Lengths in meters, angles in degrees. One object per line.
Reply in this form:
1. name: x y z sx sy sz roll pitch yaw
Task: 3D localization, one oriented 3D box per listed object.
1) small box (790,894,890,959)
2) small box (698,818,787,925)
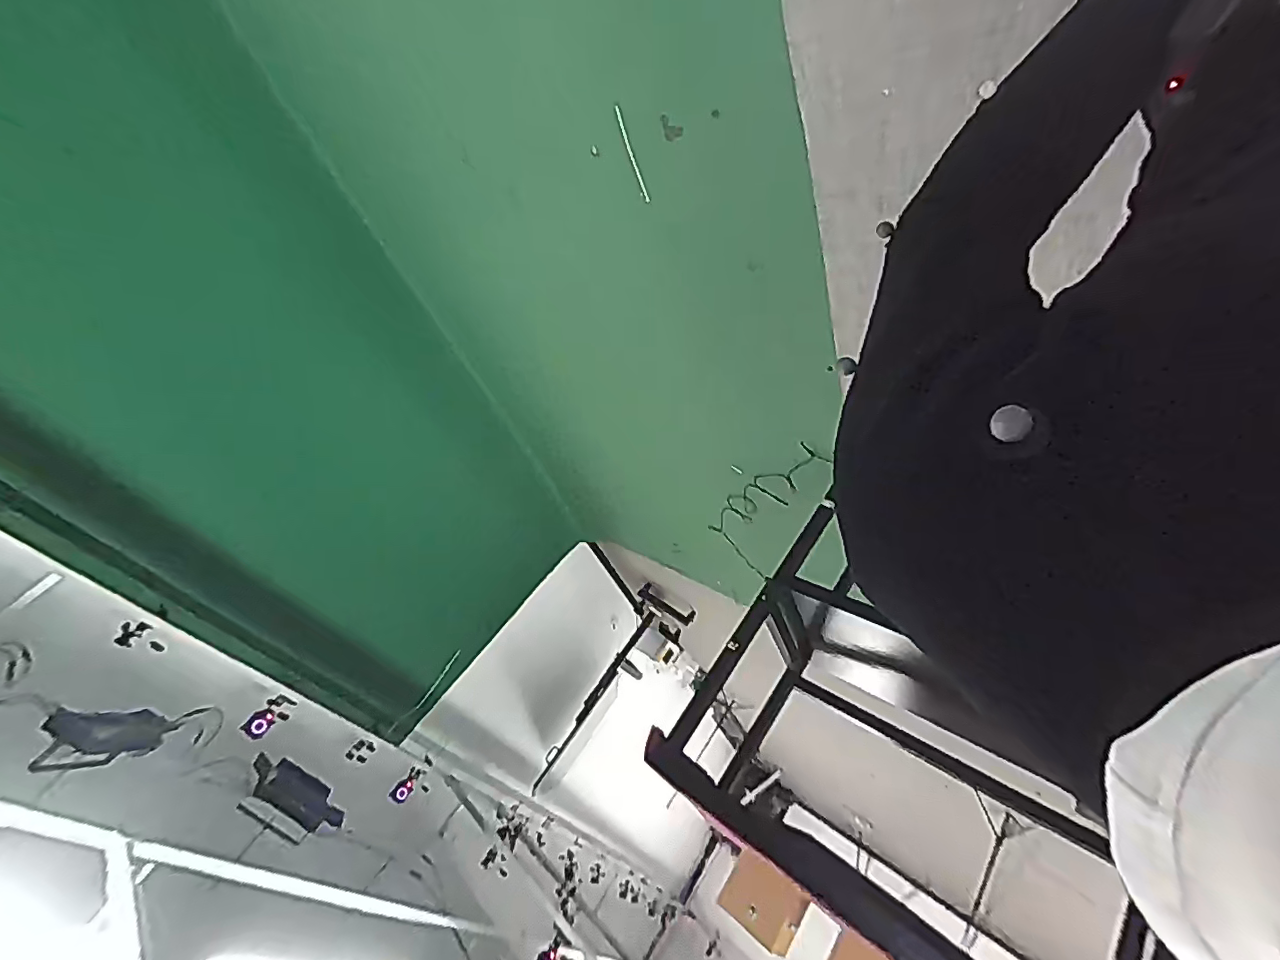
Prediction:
1. small box: 0.499 1.172 1.349 0.179 0.176 0.168 21 152 36
2. small box: 0.297 1.096 1.520 0.179 0.176 0.168 20 151 39
